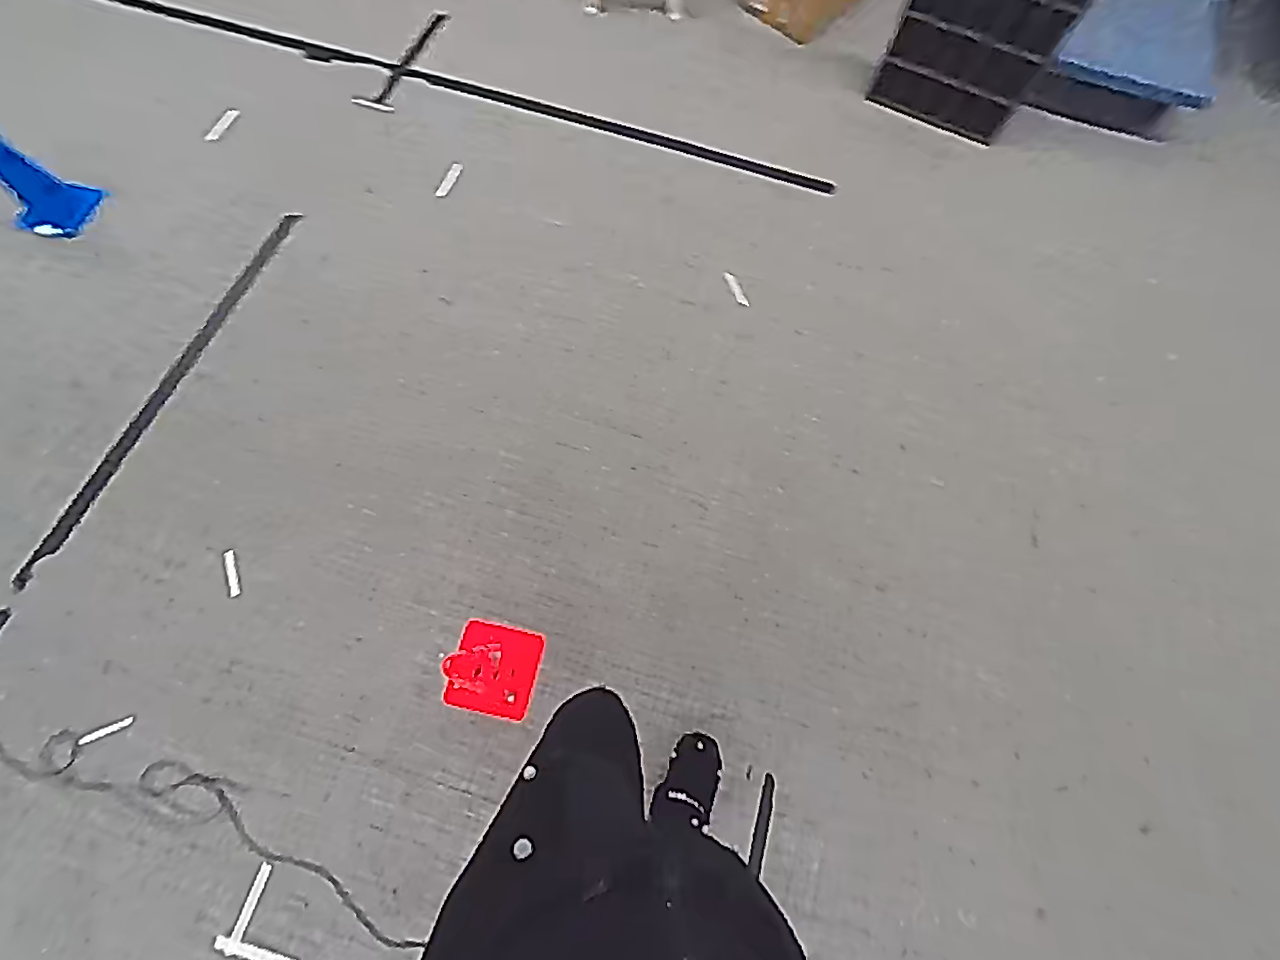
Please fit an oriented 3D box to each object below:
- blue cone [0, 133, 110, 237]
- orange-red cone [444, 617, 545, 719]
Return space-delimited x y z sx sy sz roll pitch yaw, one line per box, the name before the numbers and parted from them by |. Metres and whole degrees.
blue cone | -1.764 -0.893 1.518 0.192 0.380 0.193 13 70 2
orange-red cone | -0.332 0.379 1.113 0.198 0.360 0.199 14 69 2
